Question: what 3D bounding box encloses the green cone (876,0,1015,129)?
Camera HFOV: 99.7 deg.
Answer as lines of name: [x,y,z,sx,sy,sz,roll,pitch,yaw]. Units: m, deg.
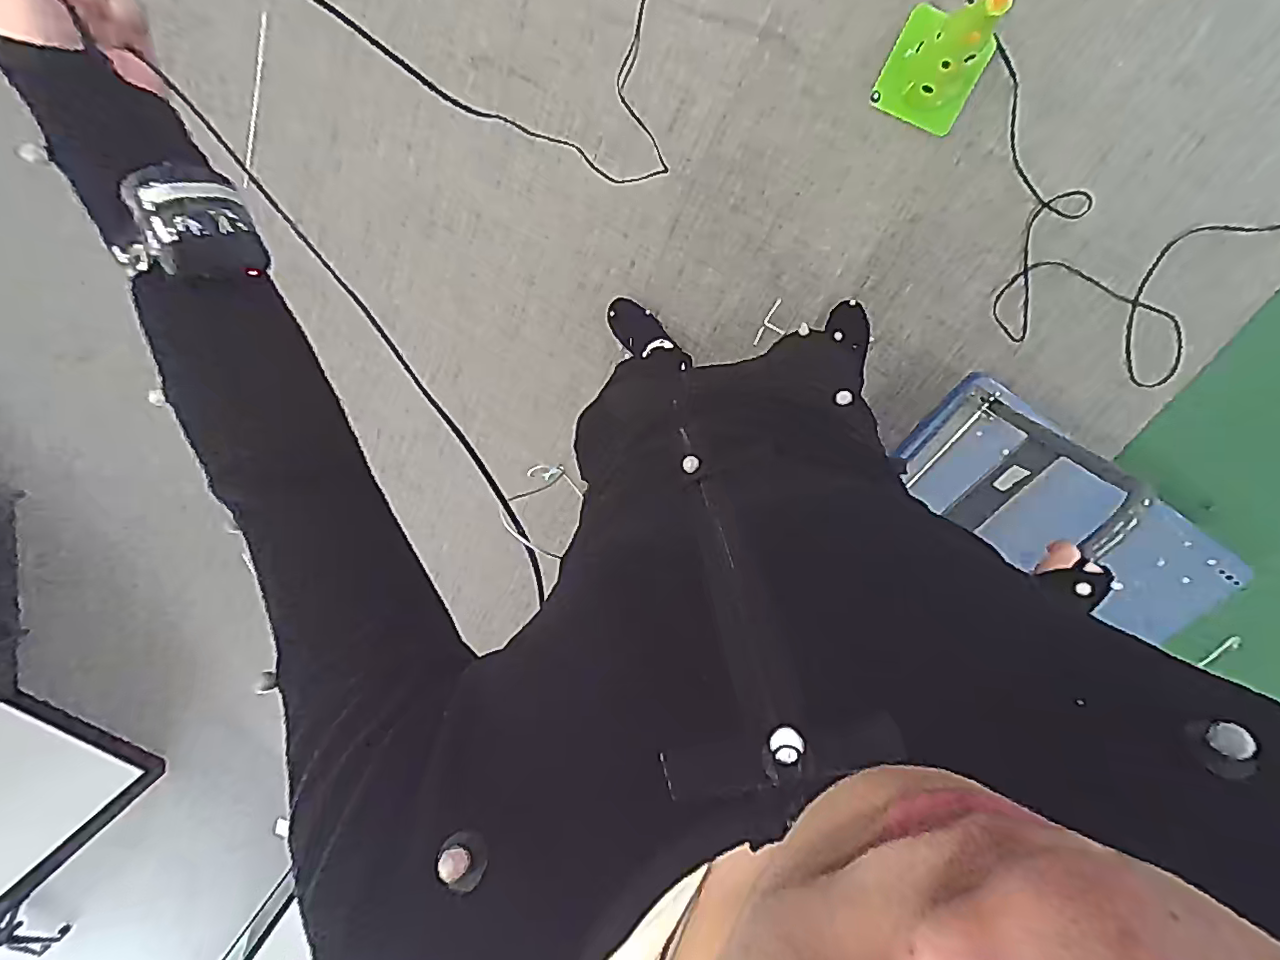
green cone: [0.626,-0.849,1.027,0.200,0.368,0.202,25,113,0]
